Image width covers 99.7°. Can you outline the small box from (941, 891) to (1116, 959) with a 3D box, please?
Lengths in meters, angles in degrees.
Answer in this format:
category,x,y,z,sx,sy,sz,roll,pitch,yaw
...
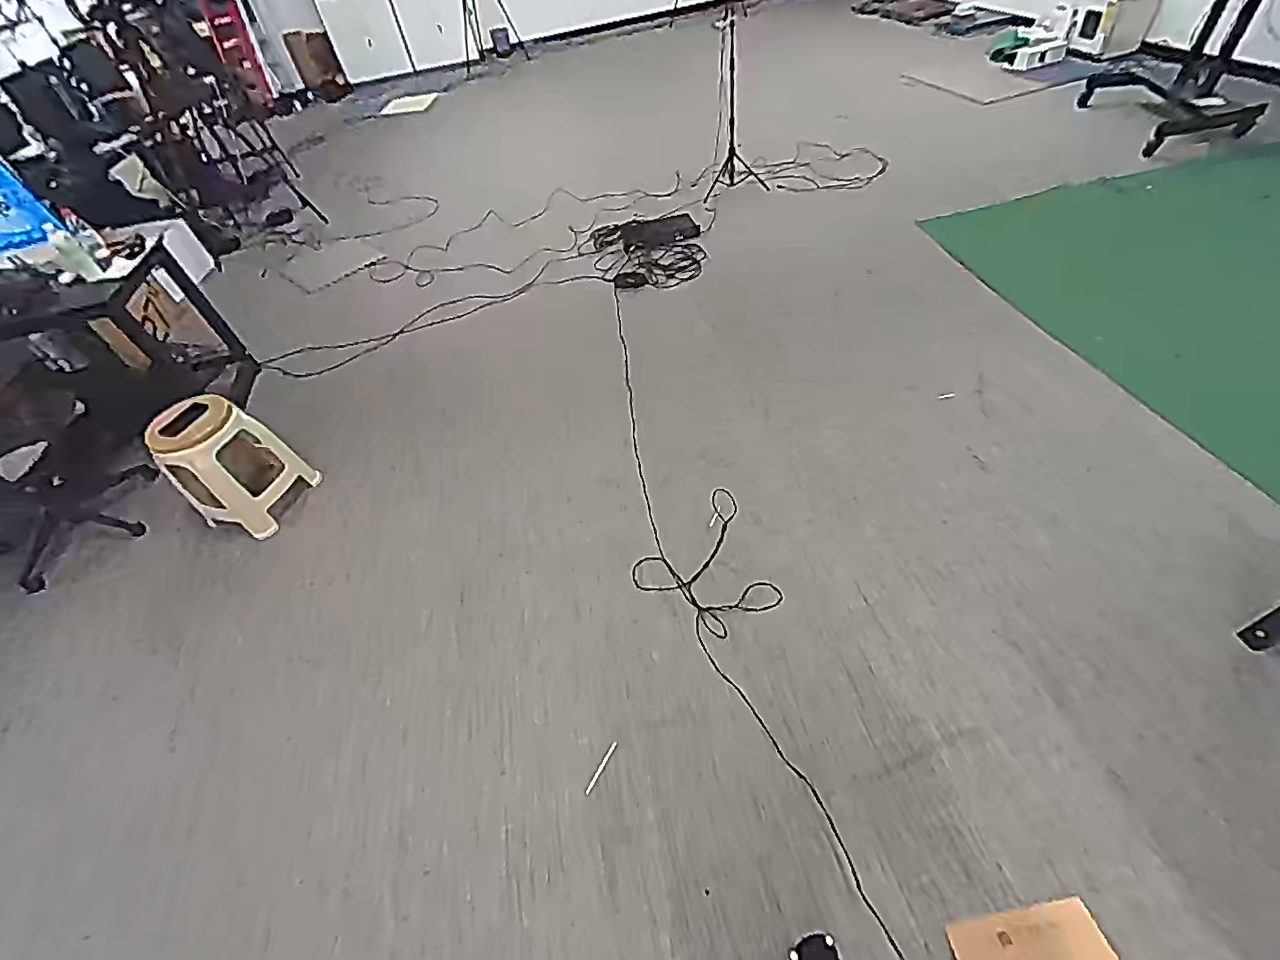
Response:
category,x,y,z,sx,sy,sz,roll,pitch,yaw
small box,0.487,0.627,0.650,0.168,0.179,0.176,-21,33,9
